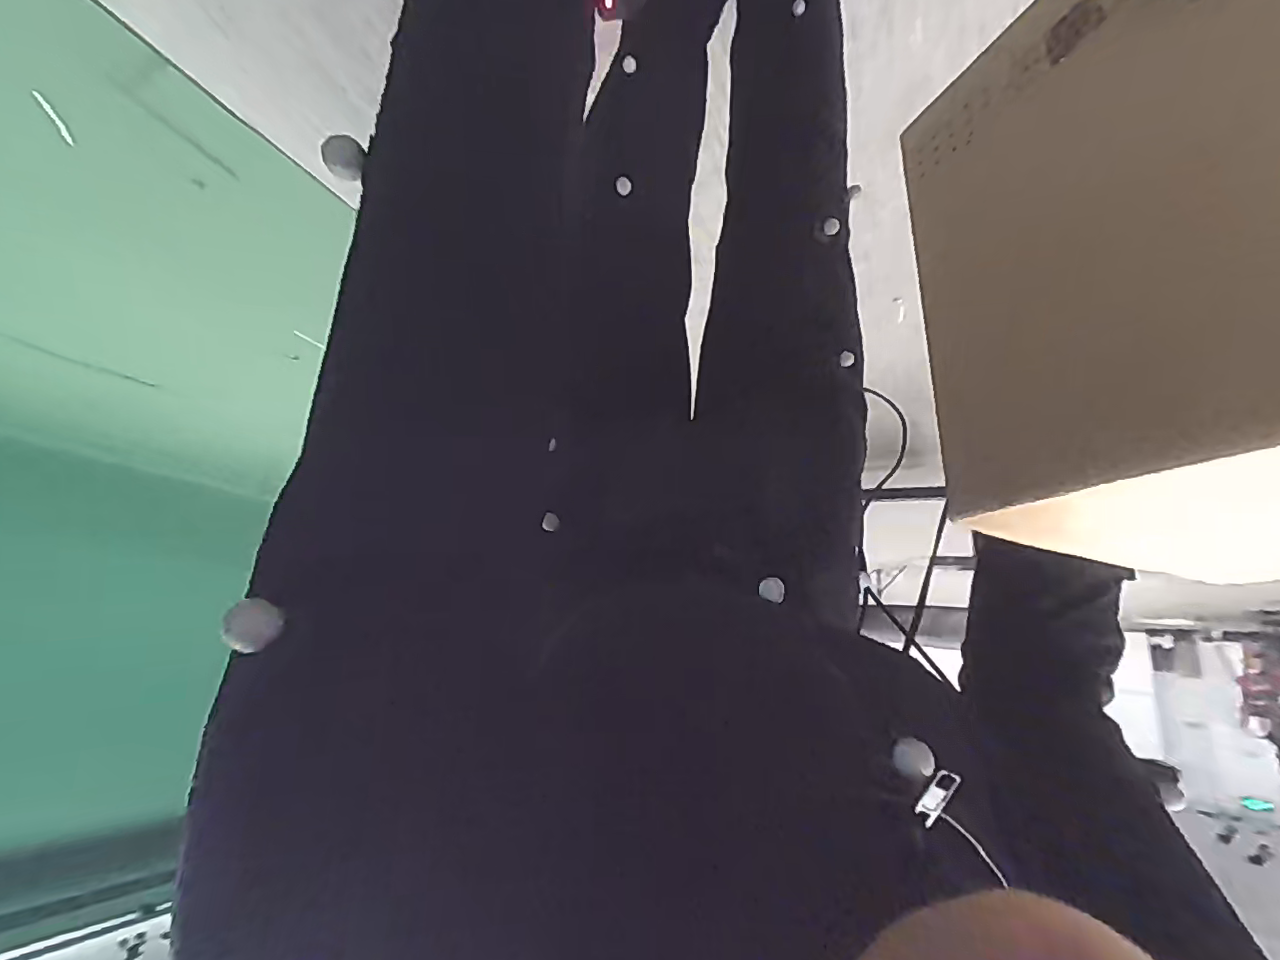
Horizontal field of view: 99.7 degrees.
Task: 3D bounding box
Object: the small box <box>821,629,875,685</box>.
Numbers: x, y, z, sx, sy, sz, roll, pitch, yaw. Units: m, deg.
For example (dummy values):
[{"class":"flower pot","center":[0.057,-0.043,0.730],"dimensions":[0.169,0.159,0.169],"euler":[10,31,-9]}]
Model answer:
[{"class":"small box","center":[0.743,0.628,1.926],"dimensions":[0.168,0.176,0.179],"euler":[-4,161,27]}]
